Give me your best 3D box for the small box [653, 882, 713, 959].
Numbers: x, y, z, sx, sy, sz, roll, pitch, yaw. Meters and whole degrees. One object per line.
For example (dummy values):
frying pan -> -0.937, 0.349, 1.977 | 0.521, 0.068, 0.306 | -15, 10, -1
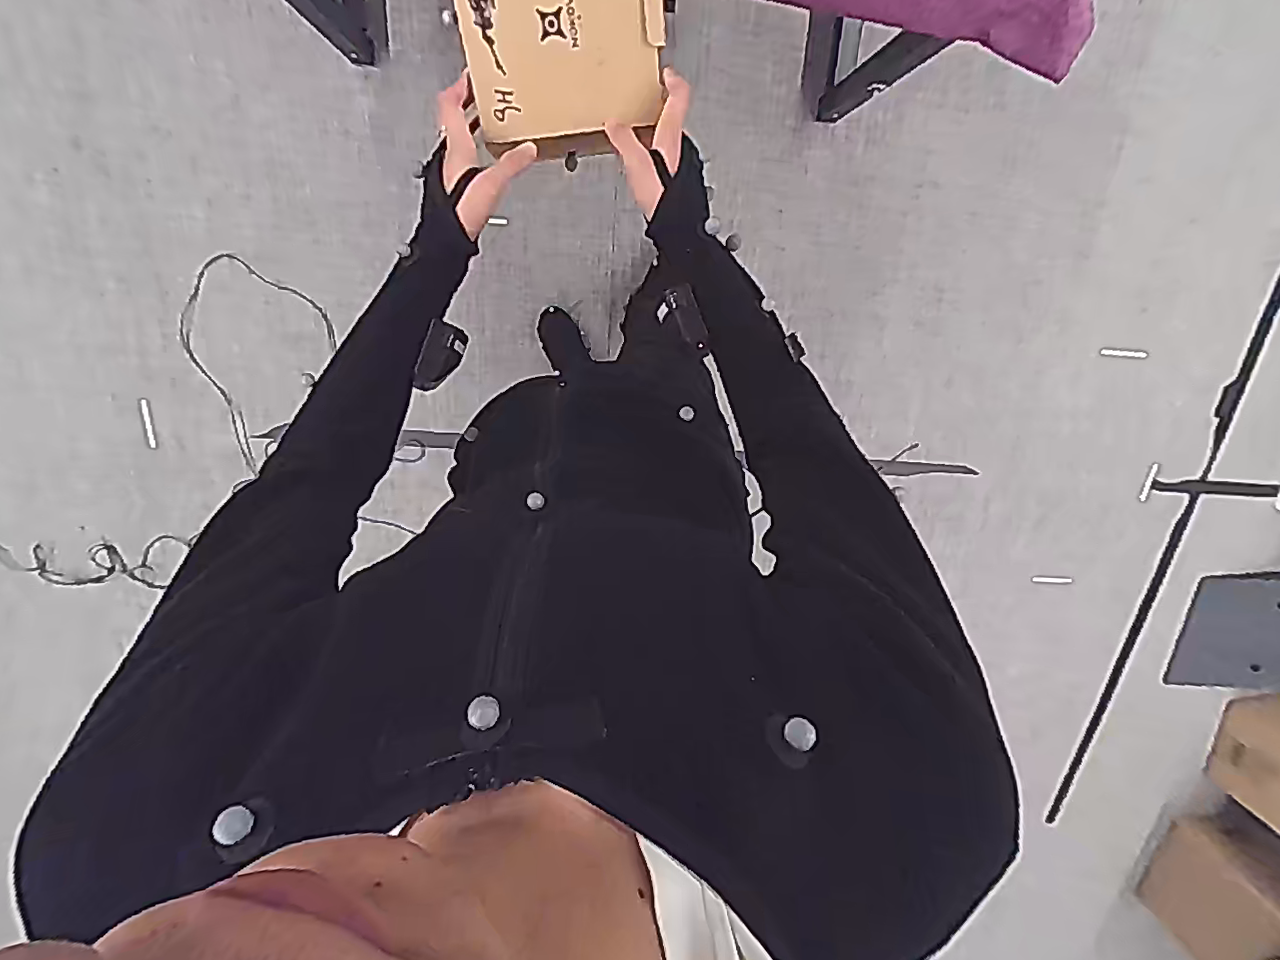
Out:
small box -> 0.139, 1.490, 1.808 | 0.168, 0.176, 0.179 | 1, 109, -7

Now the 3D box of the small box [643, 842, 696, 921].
small box -> 0.107, 1.456, 1.968 | 0.179, 0.176, 0.168 | -2, 110, -5

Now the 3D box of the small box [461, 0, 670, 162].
small box -> -0.079, -0.429, 0.542 | 0.179, 0.176, 0.168 | -10, 115, -7
